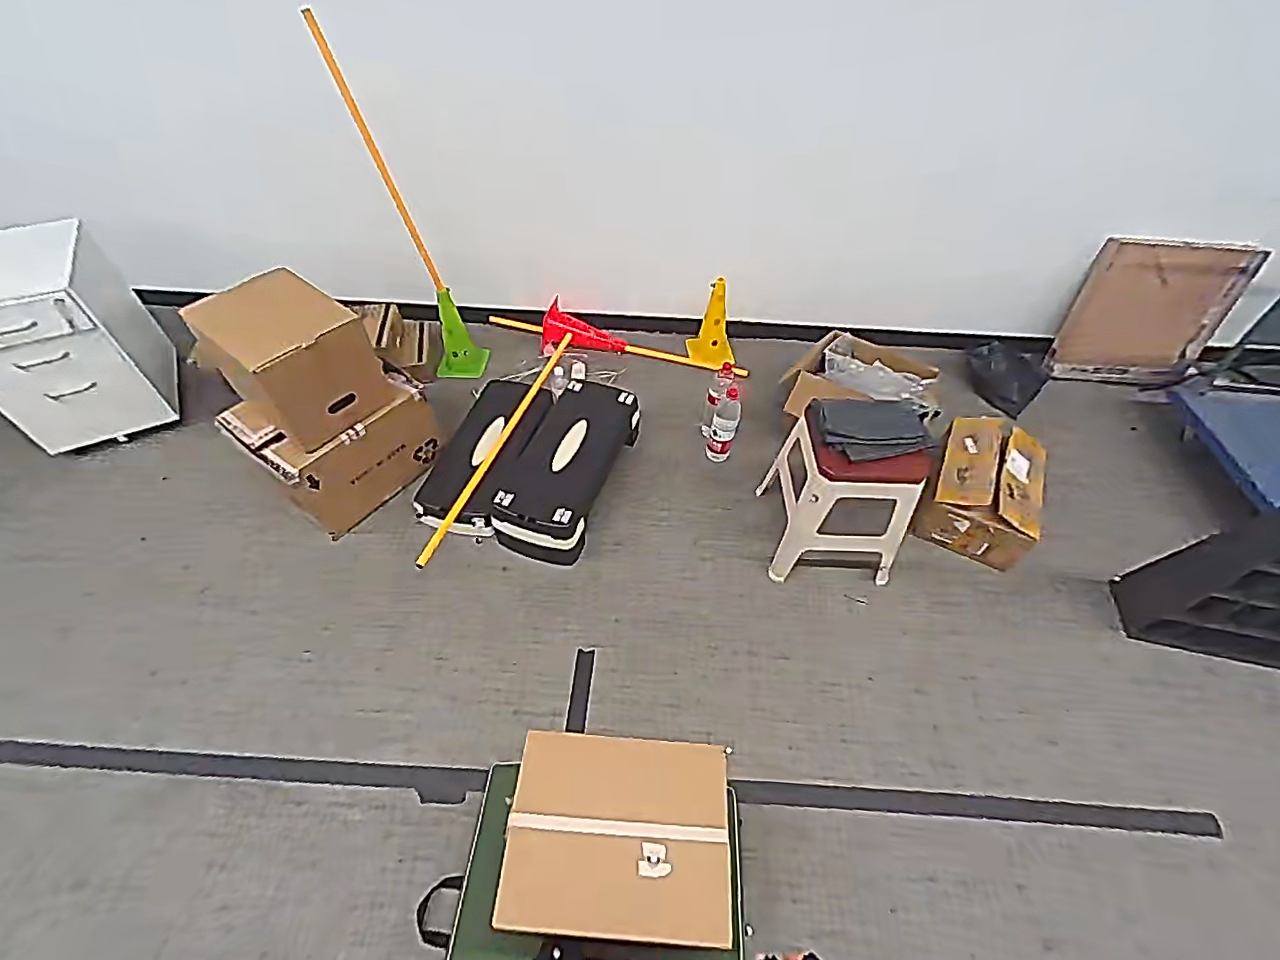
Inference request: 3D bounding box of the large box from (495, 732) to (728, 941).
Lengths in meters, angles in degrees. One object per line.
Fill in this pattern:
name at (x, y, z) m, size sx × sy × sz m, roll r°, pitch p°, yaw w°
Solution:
large box at (-0.051, 0.742, 1.119) m, size 0.408 × 0.320 × 0.320 m, roll 5°, pitch 51°, yaw 0°
